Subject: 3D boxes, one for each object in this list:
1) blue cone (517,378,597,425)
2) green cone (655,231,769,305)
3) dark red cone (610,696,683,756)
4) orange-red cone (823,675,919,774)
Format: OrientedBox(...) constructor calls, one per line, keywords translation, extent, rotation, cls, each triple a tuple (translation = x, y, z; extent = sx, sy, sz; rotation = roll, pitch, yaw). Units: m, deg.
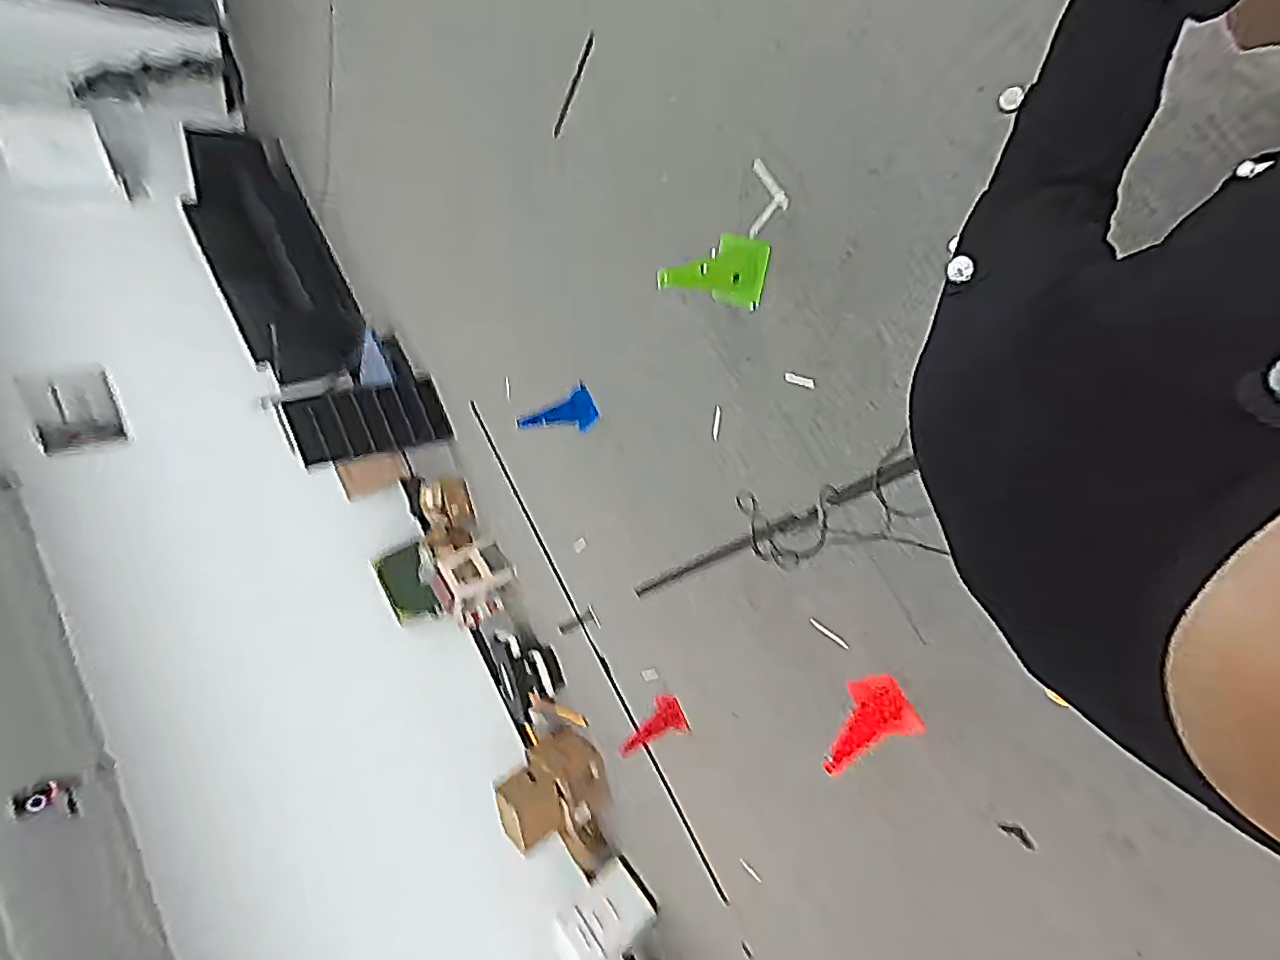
OrientedBox(translation=(-0.404, -0.334, 2.557), extent=(0.193, 0.380, 0.192), rotation=(-34, 78, 52), cls="blue cone")
OrientedBox(translation=(0.195, -0.641, 1.647), extent=(0.202, 0.368, 0.200), rotation=(35, 131, 38), cls="green cone")
OrientedBox(translation=(0.016, 1.273, 2.738), extent=(0.202, 0.394, 0.201), rotation=(-30, 82, 52), cls="dark red cone")
OrientedBox(translation=(0.692, 0.812, 1.728), extent=(0.198, 0.360, 0.199), rotation=(60, 140, 10), cls="orange-red cone")
